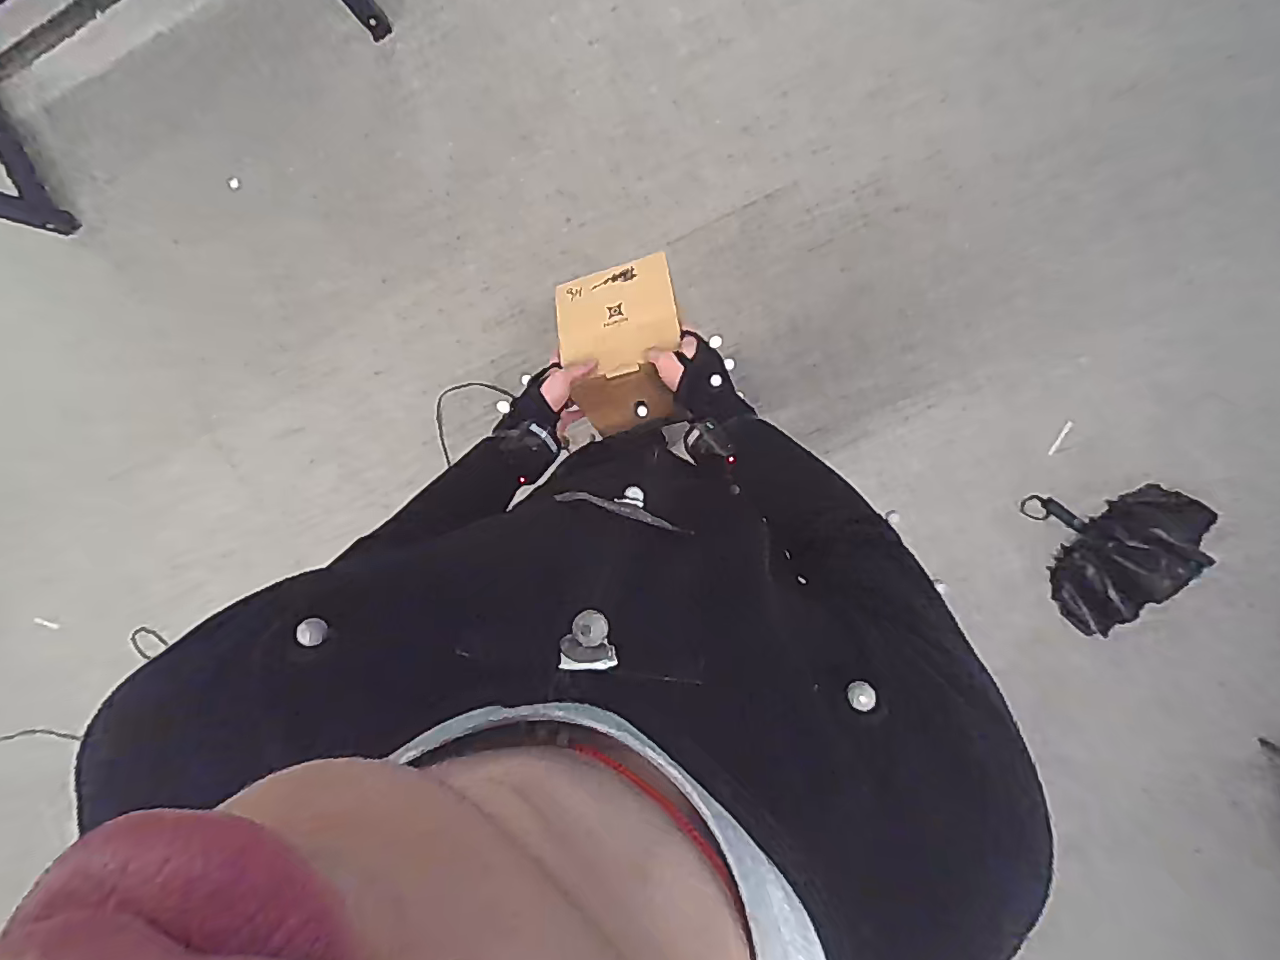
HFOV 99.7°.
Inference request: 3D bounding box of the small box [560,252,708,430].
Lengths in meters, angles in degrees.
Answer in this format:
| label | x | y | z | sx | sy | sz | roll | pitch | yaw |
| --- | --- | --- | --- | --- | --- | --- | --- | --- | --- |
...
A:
| label | x | y | z | sx | sy | sz | roll | pitch | yaw |
| --- | --- | --- | --- | --- | --- | --- | --- | --- | --- |
| small box | -0.004 | -0.188 | 0.792 | 0.168 | 0.176 | 0.179 | -14 | 65 | 12 |
